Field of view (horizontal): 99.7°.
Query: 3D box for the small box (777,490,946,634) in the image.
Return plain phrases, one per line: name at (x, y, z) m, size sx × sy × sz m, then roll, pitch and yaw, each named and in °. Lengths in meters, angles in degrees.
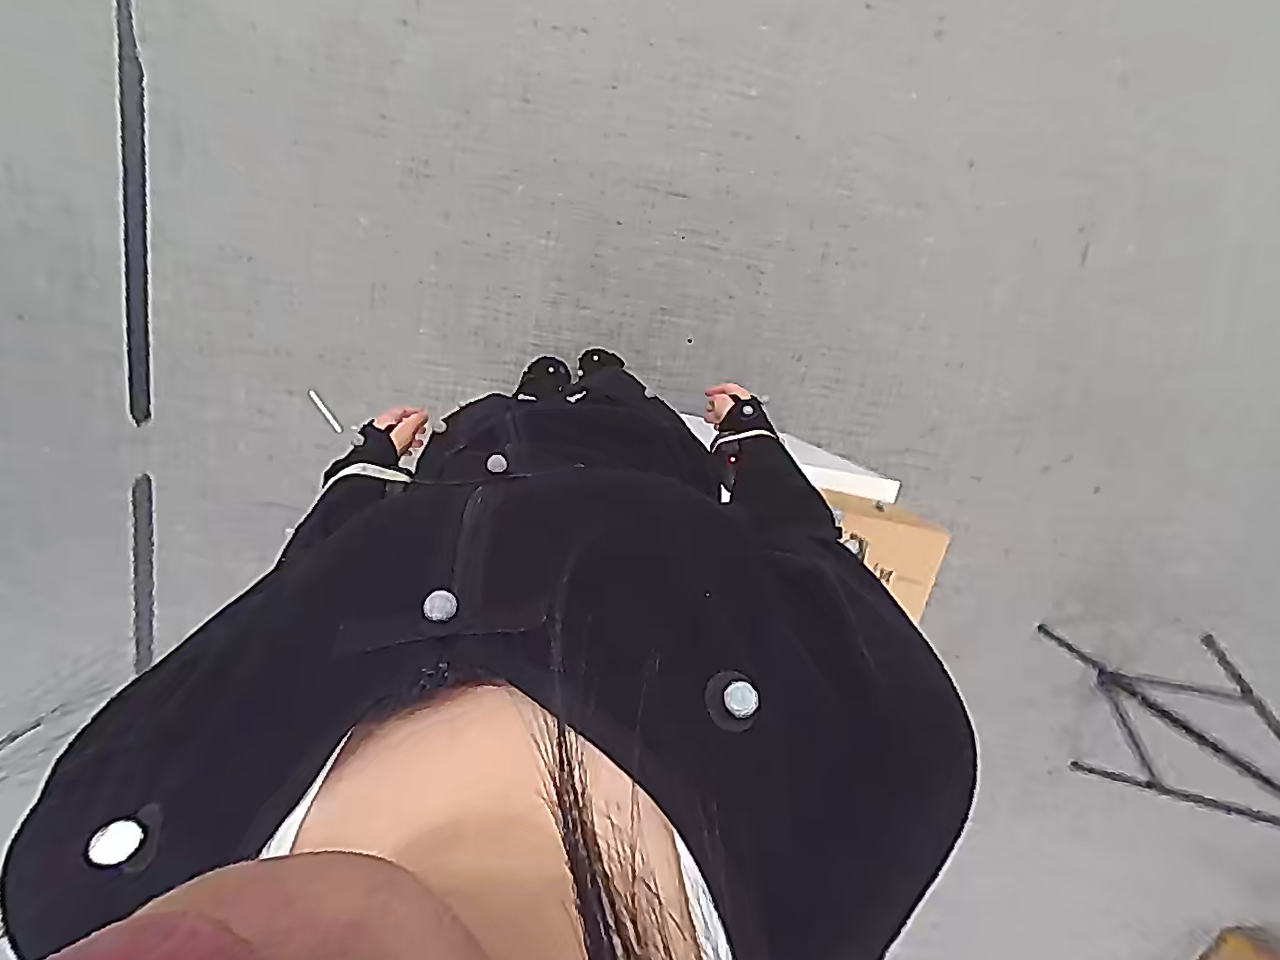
small box at (0.344, 0.123, 0.880) m, size 0.179 × 0.176 × 0.168 m, roll 12°, pitch 103°, yaw -8°
